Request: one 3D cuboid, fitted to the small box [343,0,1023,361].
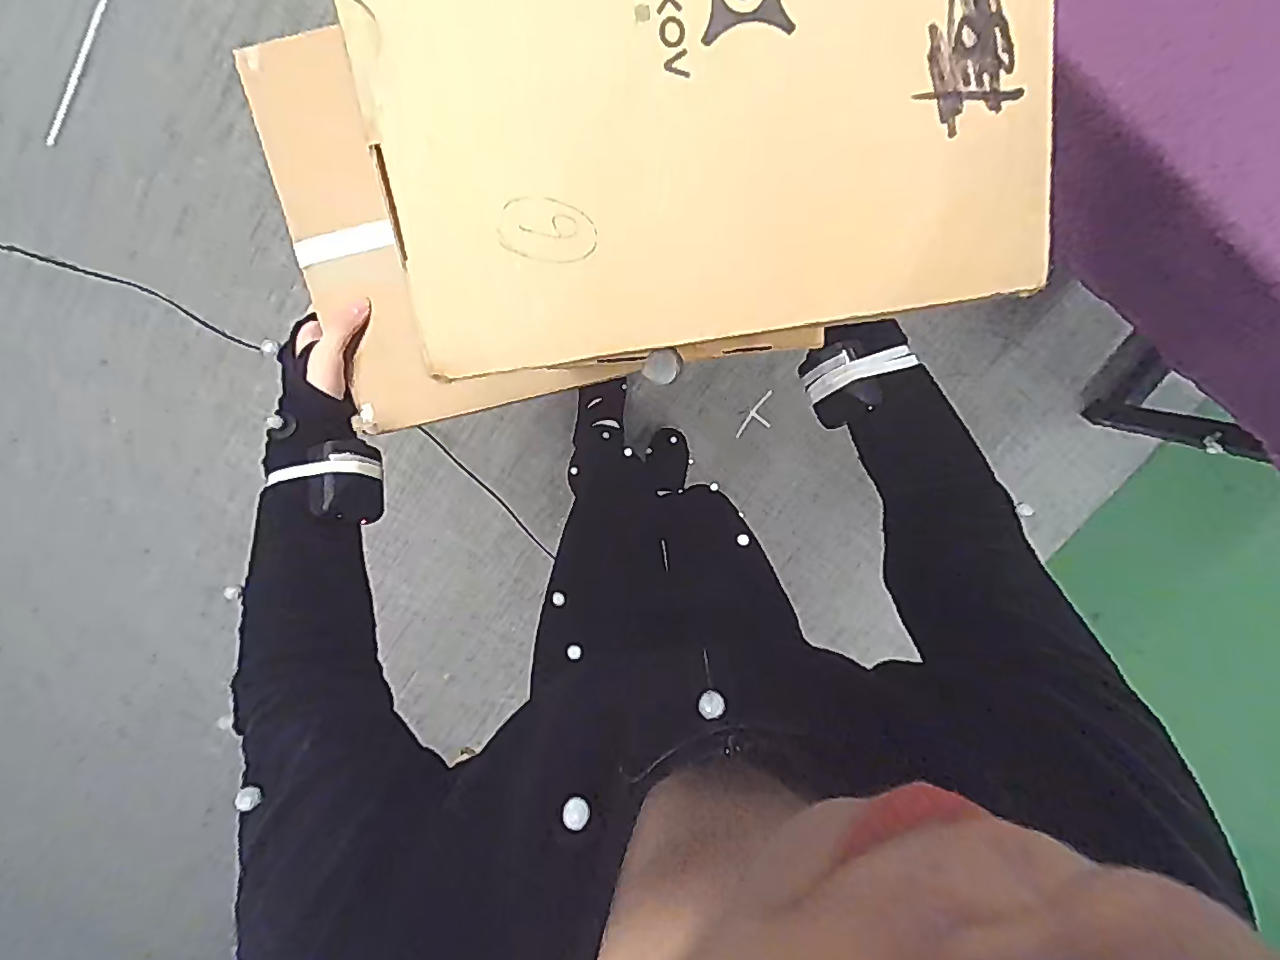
[{"bbox_3d":[0.009,-0.141,0.216,0.179,0.176,0.168,-9,104,0],"label":"small box"}]
